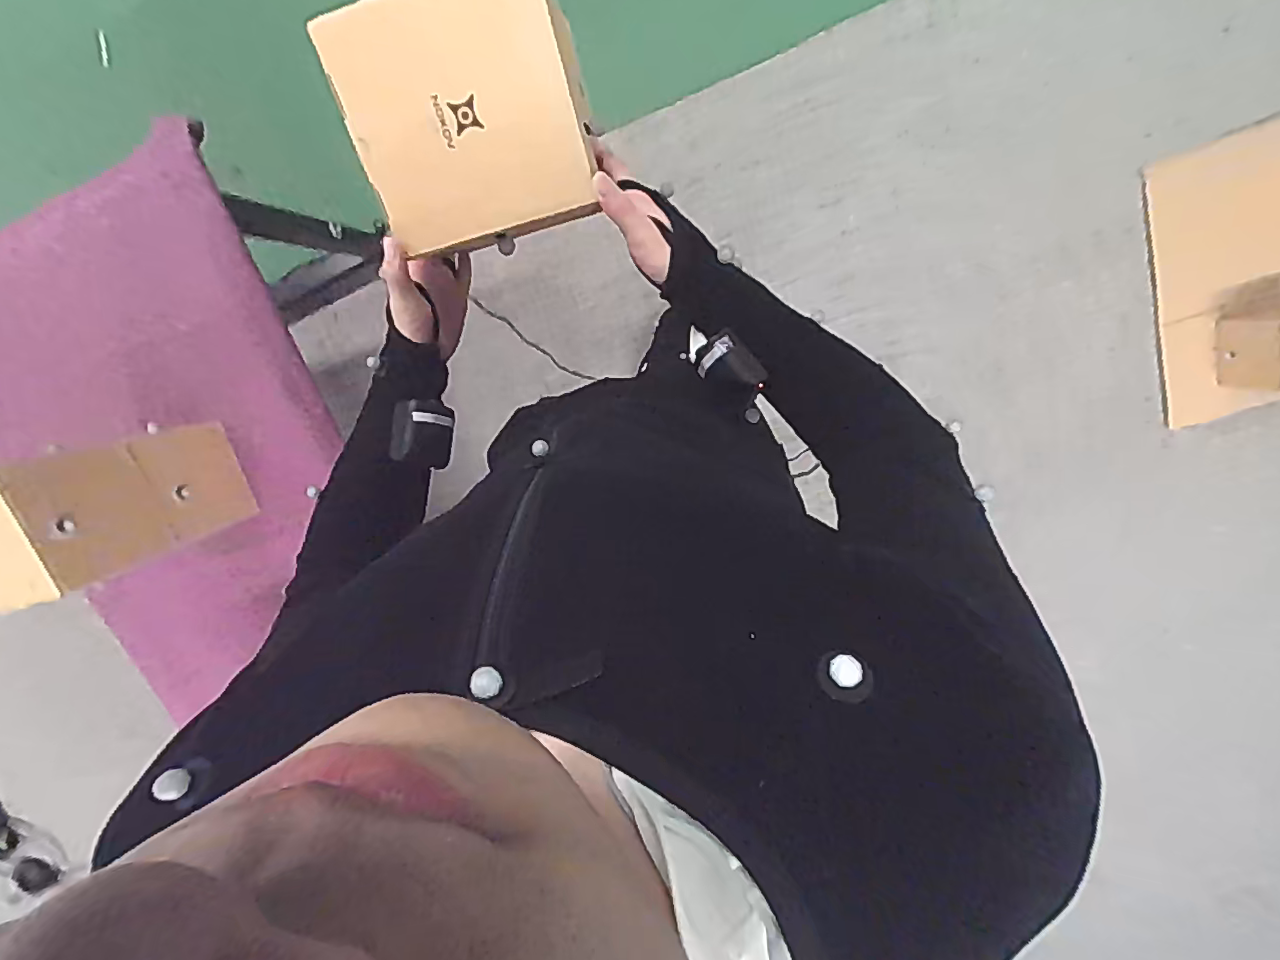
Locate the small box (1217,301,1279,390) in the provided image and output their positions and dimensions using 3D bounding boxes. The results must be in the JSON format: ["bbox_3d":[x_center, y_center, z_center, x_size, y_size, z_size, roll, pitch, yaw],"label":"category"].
[{"bbox_3d":[1.578,-0.335,1.324,0.168,0.176,0.179,-14,105,9],"label":"small box"}]

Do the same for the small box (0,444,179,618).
[{"bbox_3d":[-0.799,0.065,0.740,0.168,0.176,0.179,-13,105,8],"label":"small box"}]

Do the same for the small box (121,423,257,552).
[{"bbox_3d":[-0.789,0.018,0.895,0.168,0.176,0.179,-12,105,8],"label":"small box"}]

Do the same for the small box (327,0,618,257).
[{"bbox_3d":[-0.122,-0.312,0.482,0.179,0.176,0.168,-11,115,9],"label":"small box"}]
